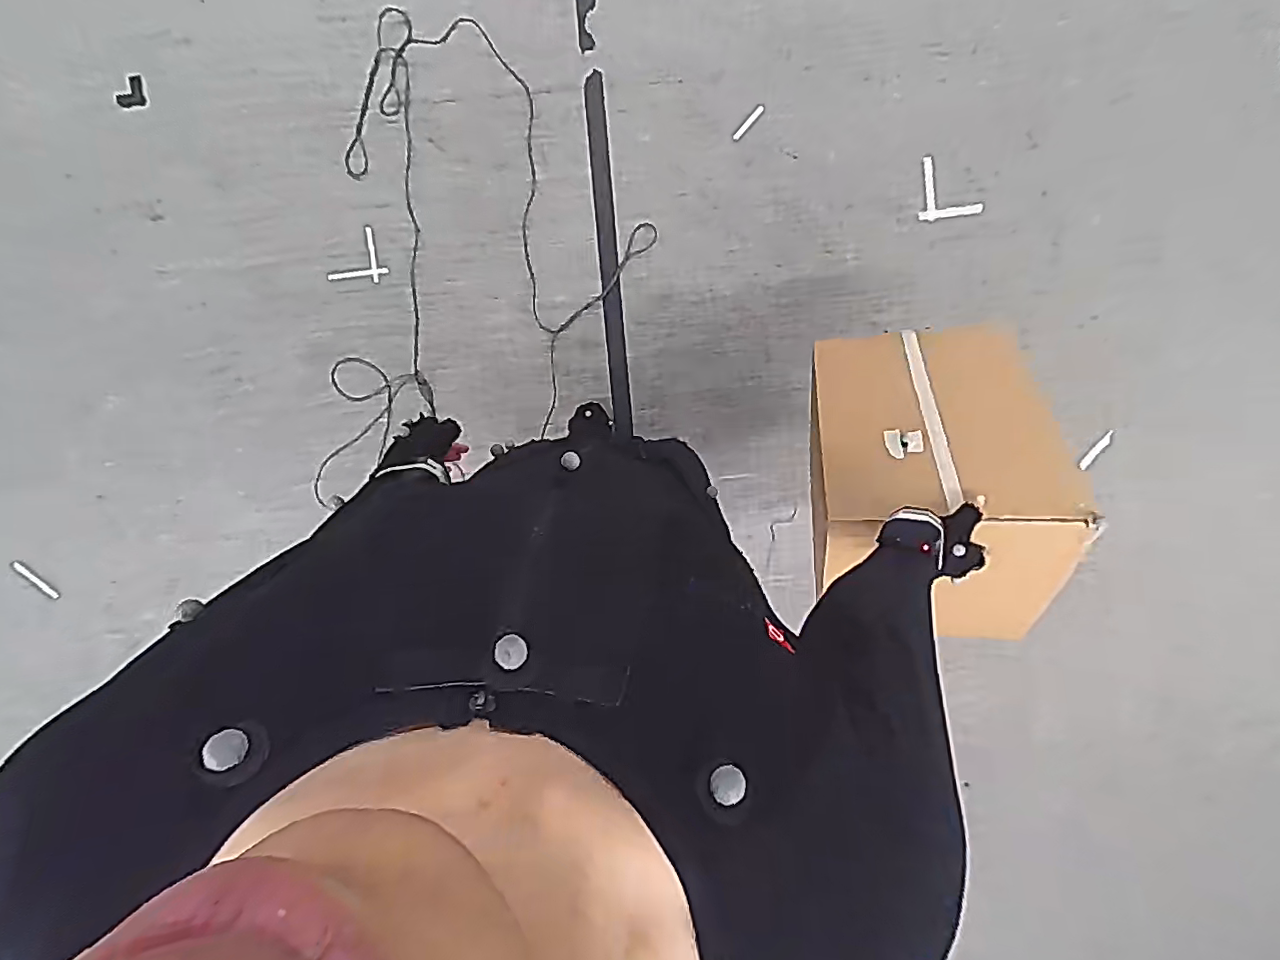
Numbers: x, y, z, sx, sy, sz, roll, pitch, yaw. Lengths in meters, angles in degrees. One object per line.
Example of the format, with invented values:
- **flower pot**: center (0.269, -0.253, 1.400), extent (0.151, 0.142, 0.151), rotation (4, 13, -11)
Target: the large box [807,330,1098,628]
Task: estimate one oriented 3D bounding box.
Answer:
- **large box**: center (0.464, -0.002, 0.927), extent (0.320, 0.408, 0.320), rotation (-2, 140, 15)
